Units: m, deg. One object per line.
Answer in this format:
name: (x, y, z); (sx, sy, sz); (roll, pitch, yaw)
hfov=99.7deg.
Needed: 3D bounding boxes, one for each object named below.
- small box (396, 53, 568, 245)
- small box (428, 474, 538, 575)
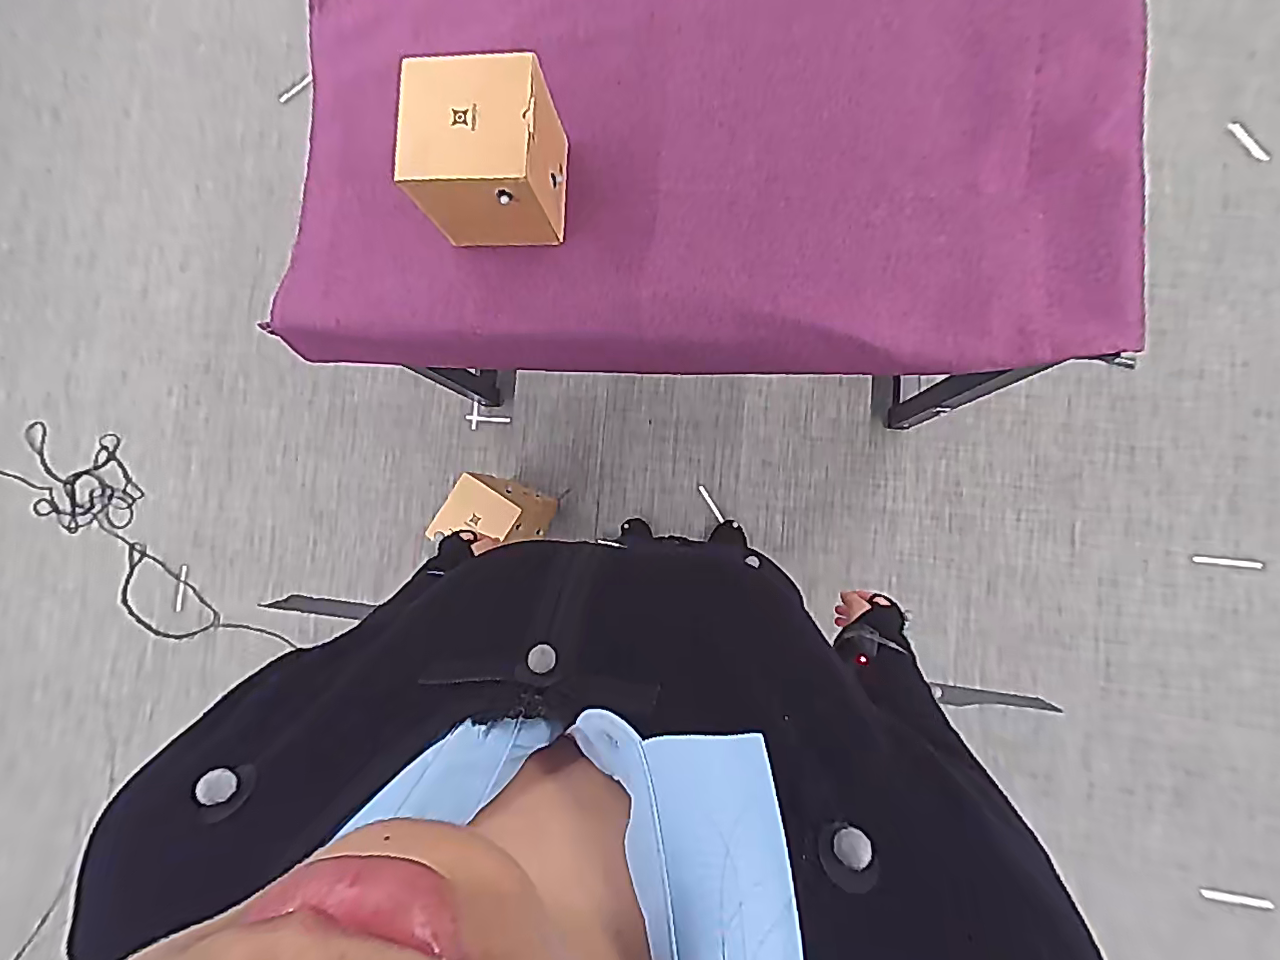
small box: (-0.209, -0.445, 0.754); (0.179, 0.176, 0.168); (2, 86, 6)
small box: (-0.366, 0.103, 1.302); (0.168, 0.176, 0.179); (33, 91, 7)
